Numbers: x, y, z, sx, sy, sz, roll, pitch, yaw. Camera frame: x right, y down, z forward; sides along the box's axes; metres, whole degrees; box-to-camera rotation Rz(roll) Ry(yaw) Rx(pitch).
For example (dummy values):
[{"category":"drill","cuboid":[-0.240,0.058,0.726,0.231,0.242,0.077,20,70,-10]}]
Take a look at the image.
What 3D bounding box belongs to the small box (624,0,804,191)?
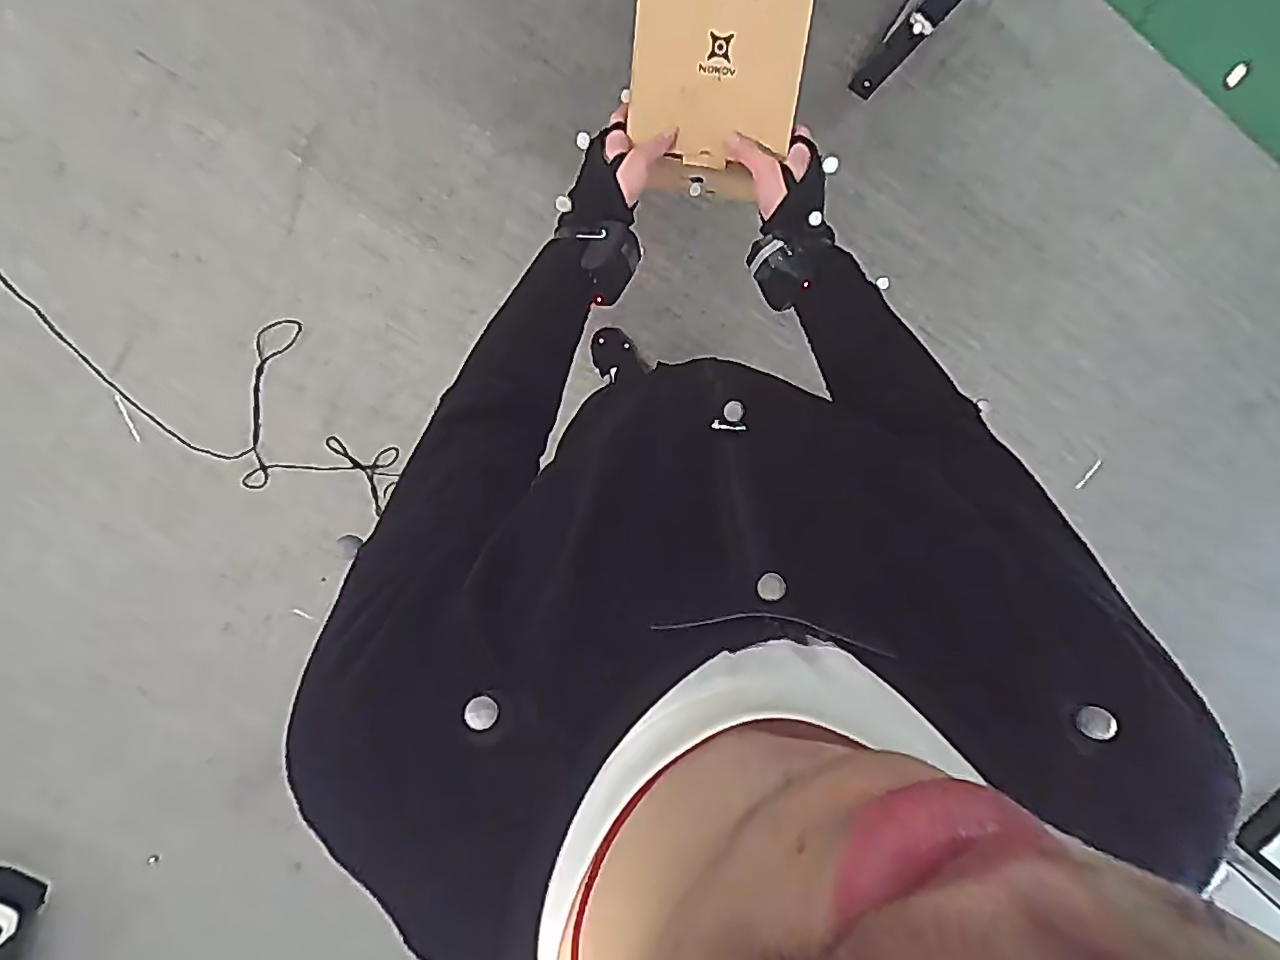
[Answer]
[{"category":"small box","cuboid":[0.074,-0.434,0.601,0.168,0.176,0.179,4,108,0]}]
